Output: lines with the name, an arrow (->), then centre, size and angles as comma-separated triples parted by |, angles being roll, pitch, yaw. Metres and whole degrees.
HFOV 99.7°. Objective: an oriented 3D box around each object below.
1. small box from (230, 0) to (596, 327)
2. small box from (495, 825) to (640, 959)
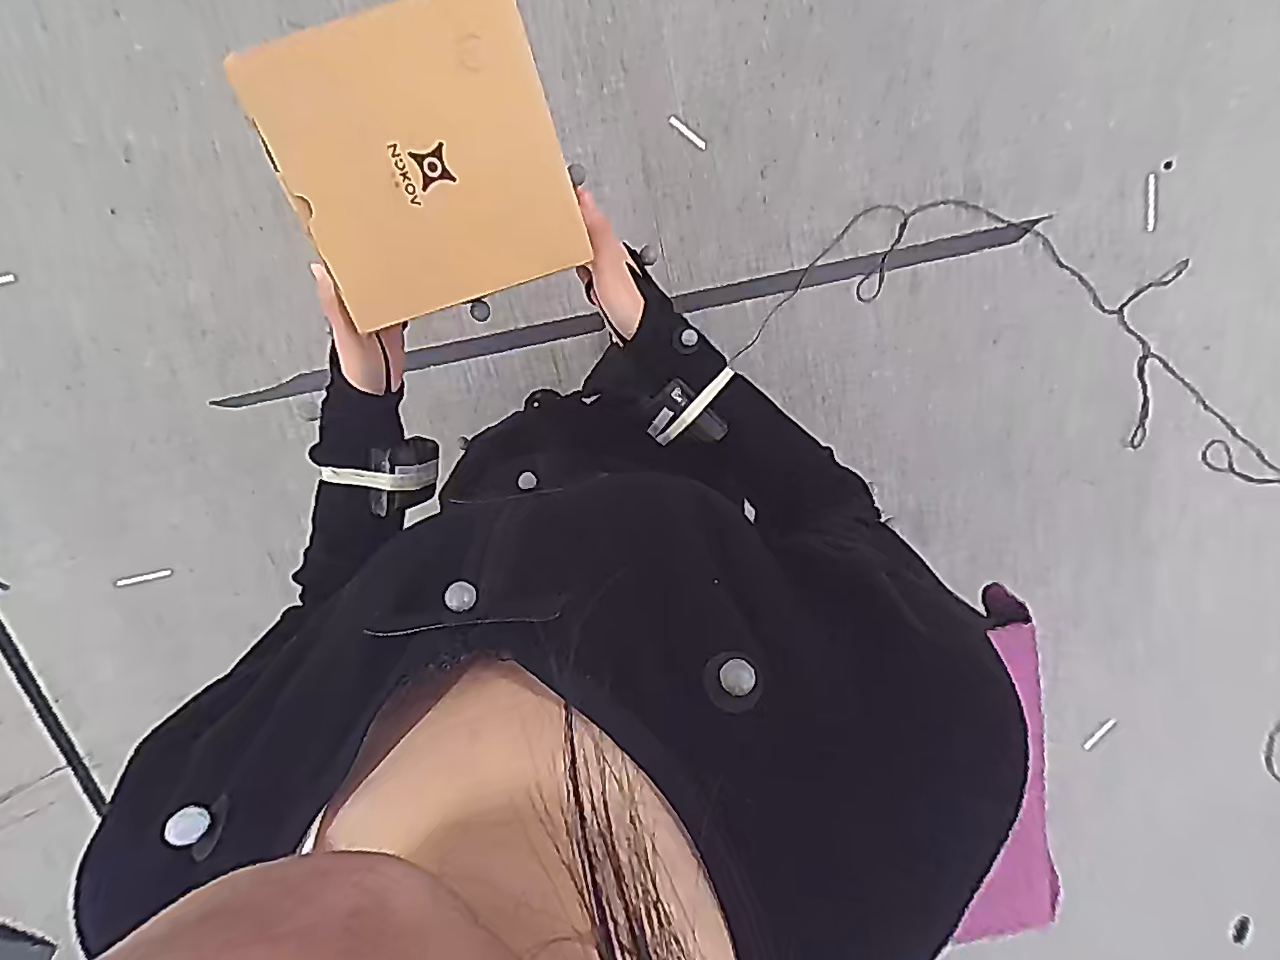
small box -> -0.144, -0.234, 0.415 | 0.179, 0.176, 0.168 | -17, 114, 1
small box -> -0.099, 0.673, 0.823 | 0.179, 0.176, 0.168 | -14, 104, 0
